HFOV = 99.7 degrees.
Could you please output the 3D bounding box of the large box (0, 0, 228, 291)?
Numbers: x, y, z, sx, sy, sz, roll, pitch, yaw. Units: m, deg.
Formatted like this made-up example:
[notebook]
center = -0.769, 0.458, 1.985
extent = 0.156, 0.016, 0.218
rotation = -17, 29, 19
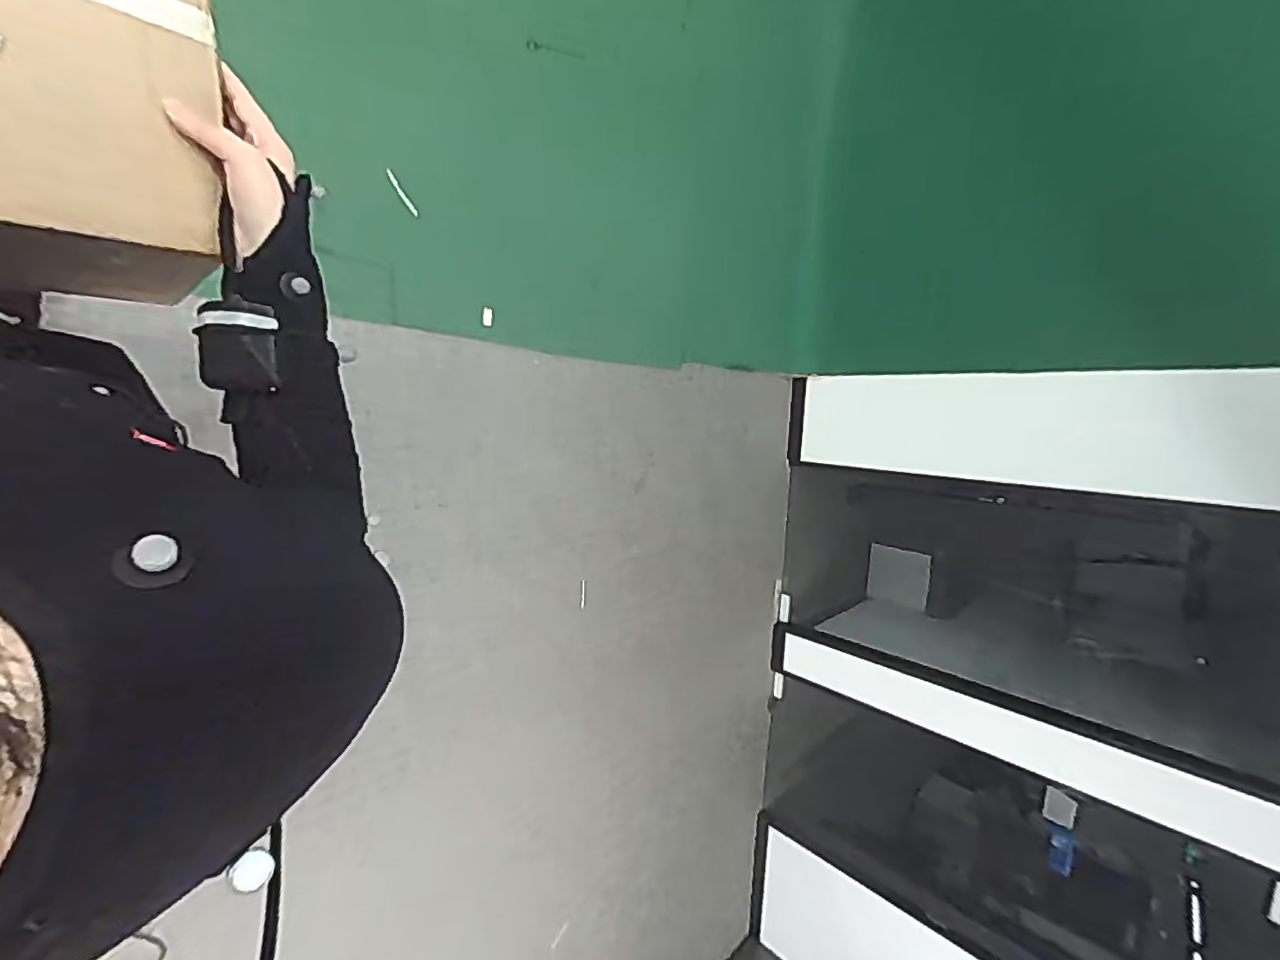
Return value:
[large box]
center = -0.566, -0.328, 0.354
extent = 0.408, 0.320, 0.320
rotation = -8, 103, -47
